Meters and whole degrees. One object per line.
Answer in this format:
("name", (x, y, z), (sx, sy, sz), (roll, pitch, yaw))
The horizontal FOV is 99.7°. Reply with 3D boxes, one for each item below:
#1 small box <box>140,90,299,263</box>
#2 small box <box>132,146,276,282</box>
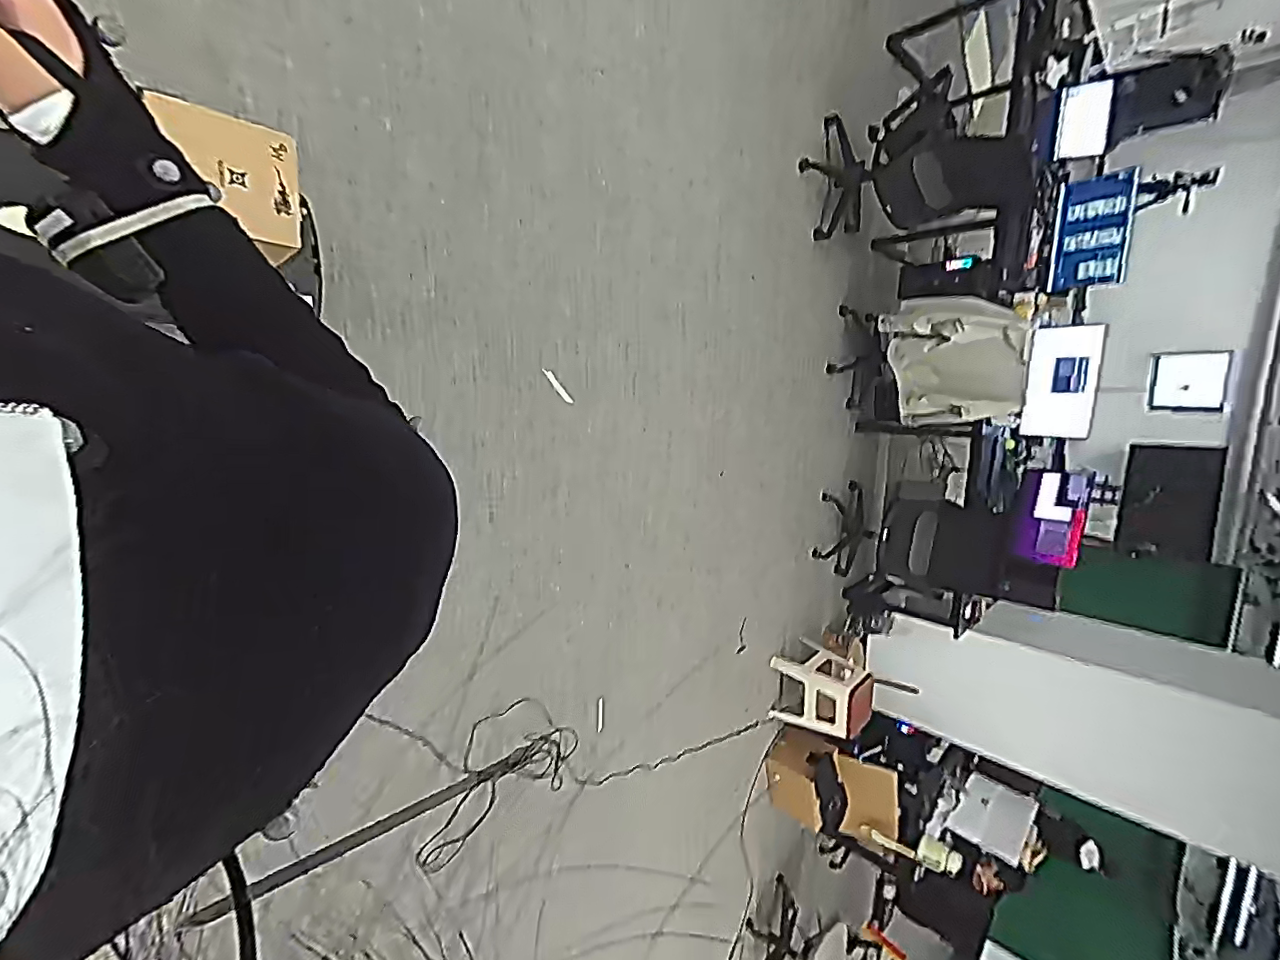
("small box", (-0.648, -0.447, 0.833), (0.179, 0.176, 0.168), (-5, 100, -45))
("small box", (-0.766, -0.448, 0.948), (0.179, 0.176, 0.168), (-8, 102, -44))
